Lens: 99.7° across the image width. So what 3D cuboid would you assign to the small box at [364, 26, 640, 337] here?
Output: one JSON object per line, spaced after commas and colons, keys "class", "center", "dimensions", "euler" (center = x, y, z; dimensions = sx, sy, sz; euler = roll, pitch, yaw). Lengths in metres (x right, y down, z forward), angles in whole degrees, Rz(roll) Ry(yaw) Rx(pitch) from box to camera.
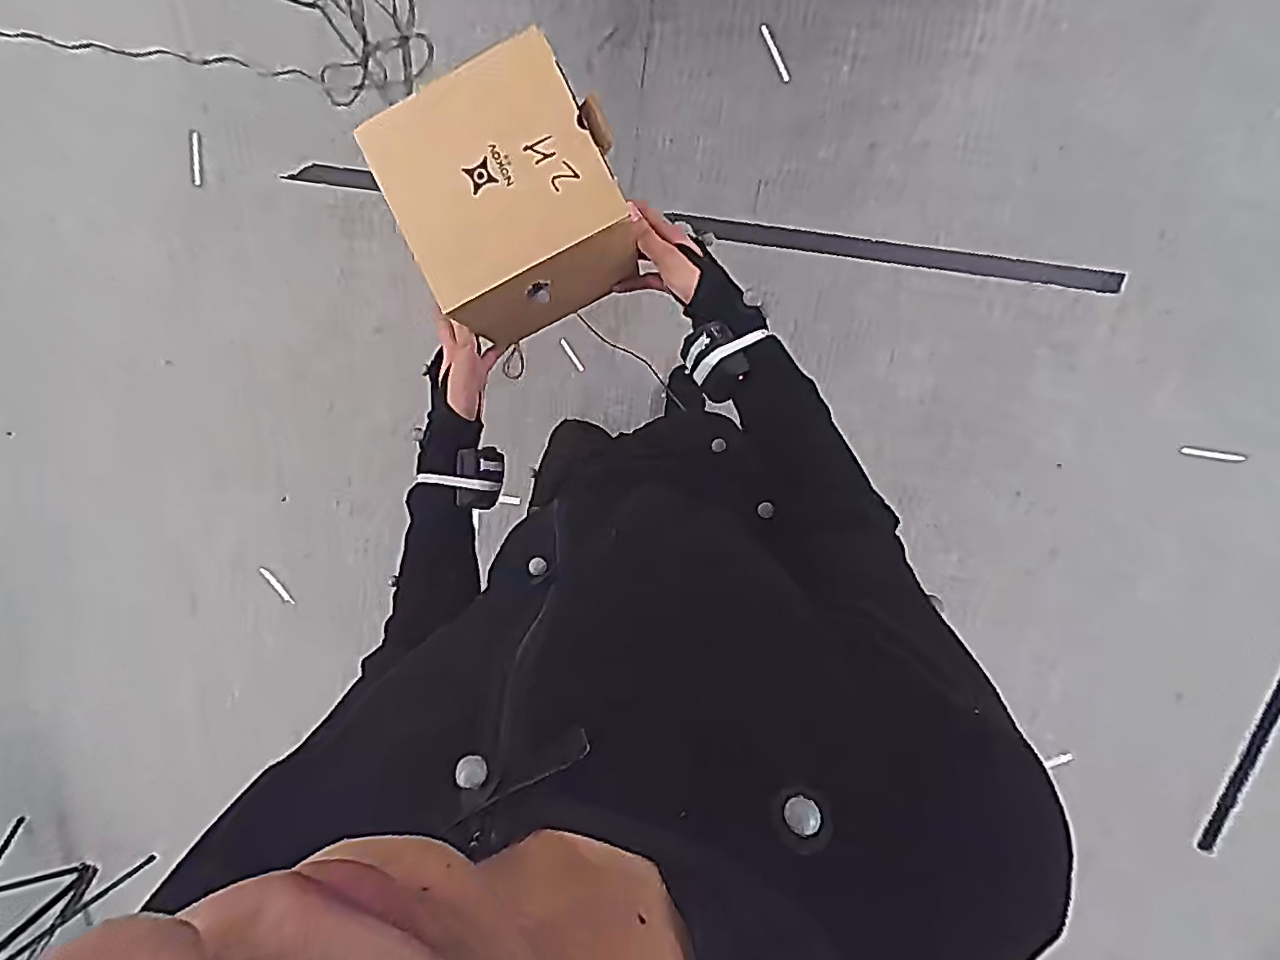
{"class": "small box", "center": [-0.111, -0.256, 0.516], "dimensions": [0.179, 0.176, 0.168], "euler": [-26, 93, 3]}
